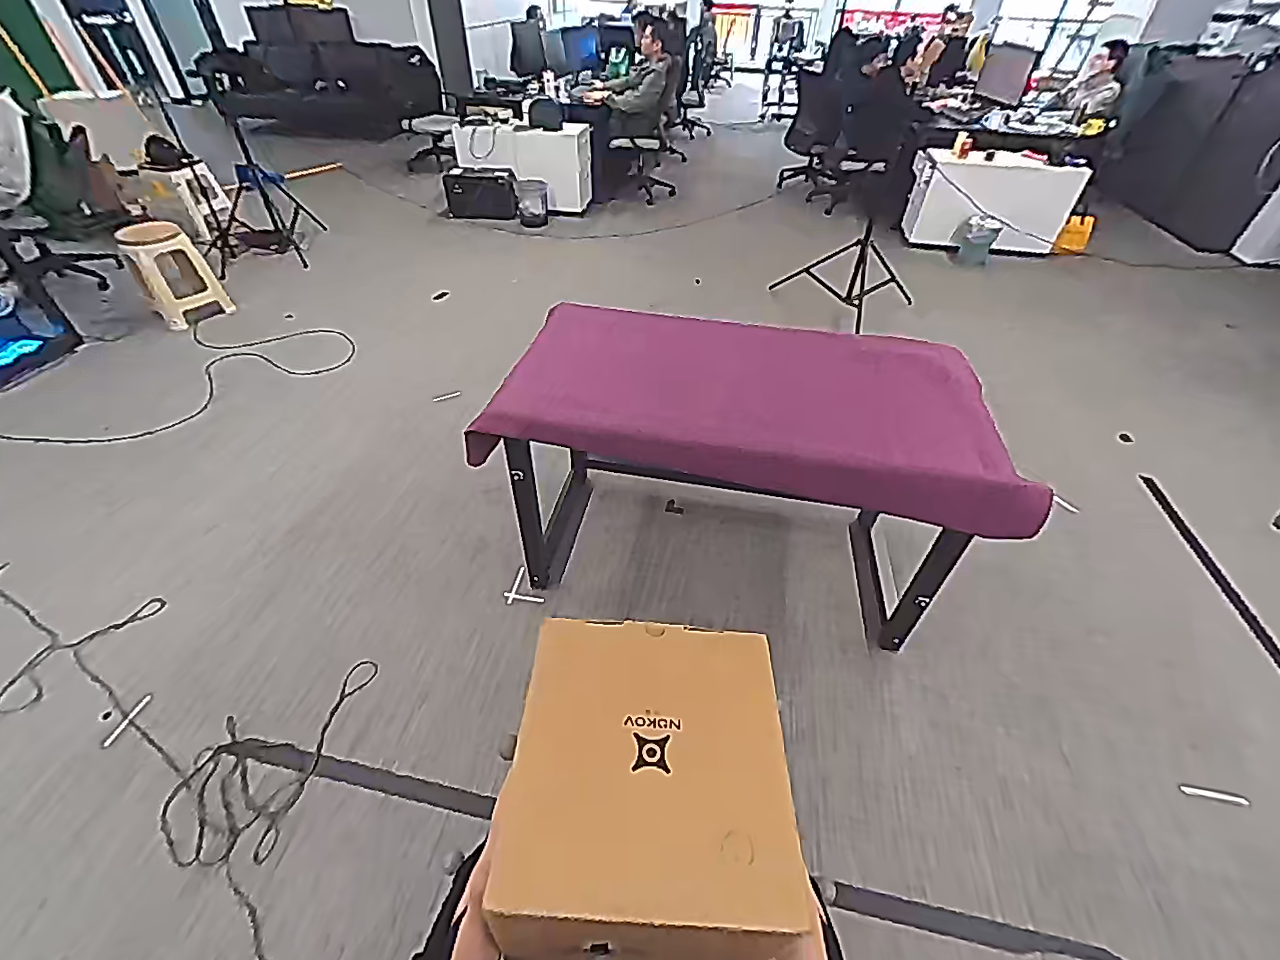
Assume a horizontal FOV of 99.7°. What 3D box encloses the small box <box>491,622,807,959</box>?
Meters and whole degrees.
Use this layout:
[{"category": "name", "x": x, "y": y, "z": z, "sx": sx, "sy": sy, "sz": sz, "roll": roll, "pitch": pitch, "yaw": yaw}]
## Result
[{"category": "small box", "x": 0.004, "y": 0.228, "z": 0.387, "sx": 0.168, "sy": 0.176, "sz": 0.179, "roll": 4, "pitch": 39, "yaw": -1}]
